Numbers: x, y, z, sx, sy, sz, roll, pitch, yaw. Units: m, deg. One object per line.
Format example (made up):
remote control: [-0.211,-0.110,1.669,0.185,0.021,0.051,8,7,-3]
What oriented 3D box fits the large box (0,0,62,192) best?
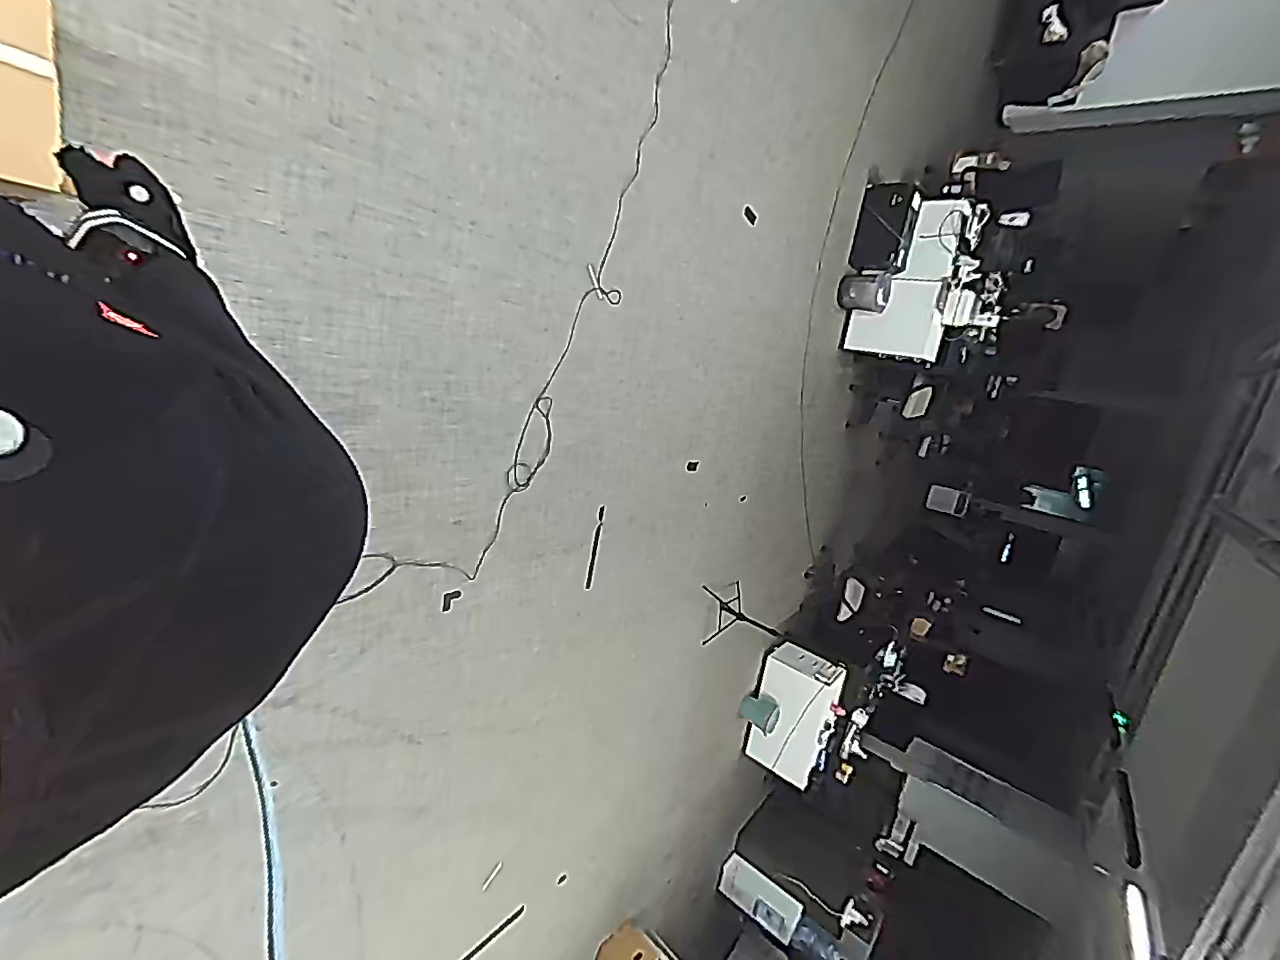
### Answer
large box: [-1.057,-0.596,0.681,0.408,0.320,0.320,-7,112,-53]
